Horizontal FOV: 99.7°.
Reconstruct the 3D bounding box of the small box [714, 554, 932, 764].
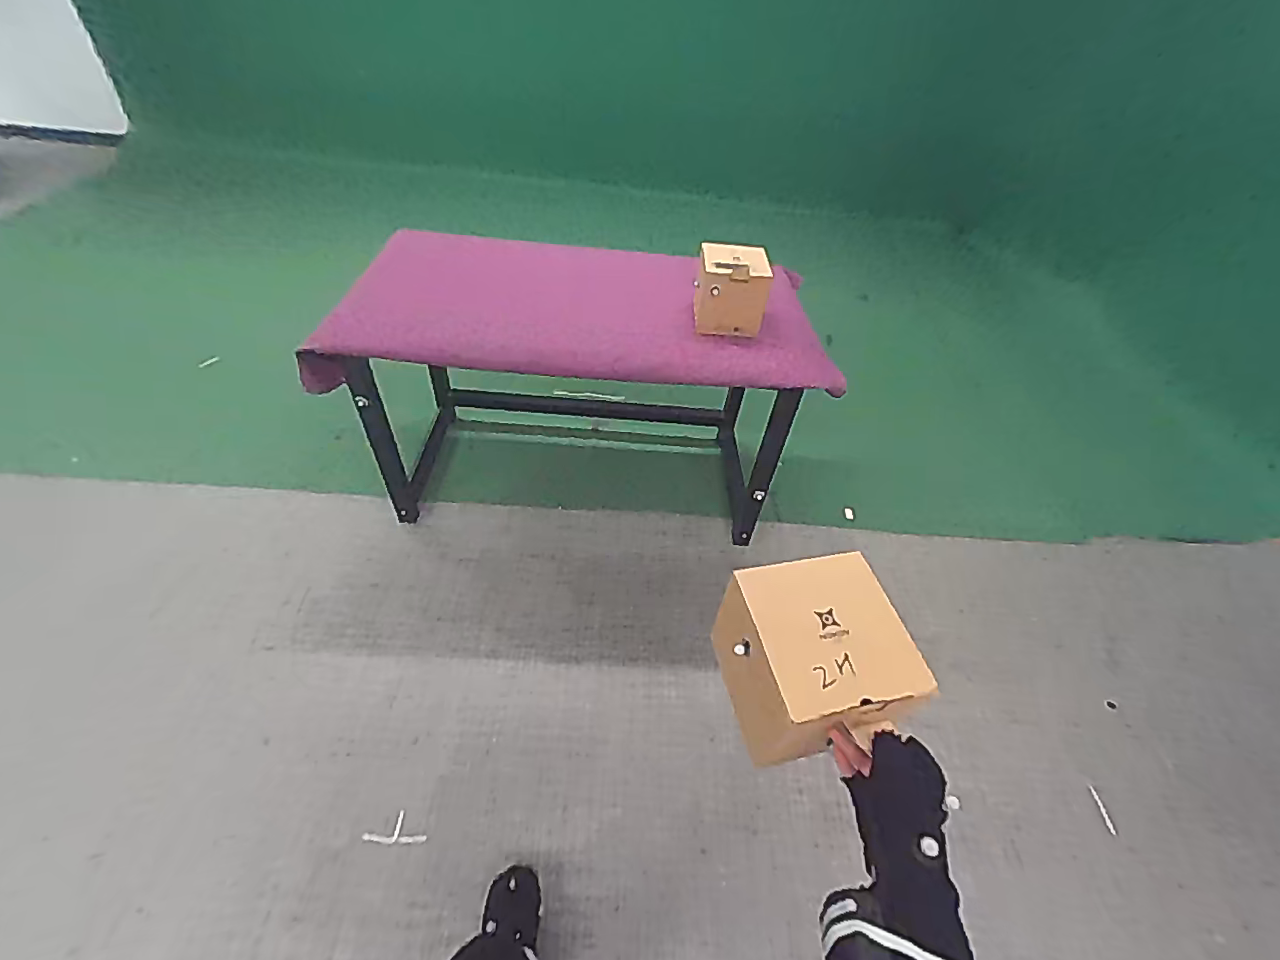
[{"bbox_3d":[0.199,0.215,0.653,0.168,0.176,0.179,-7,50,-11],"label":"small box"}]
